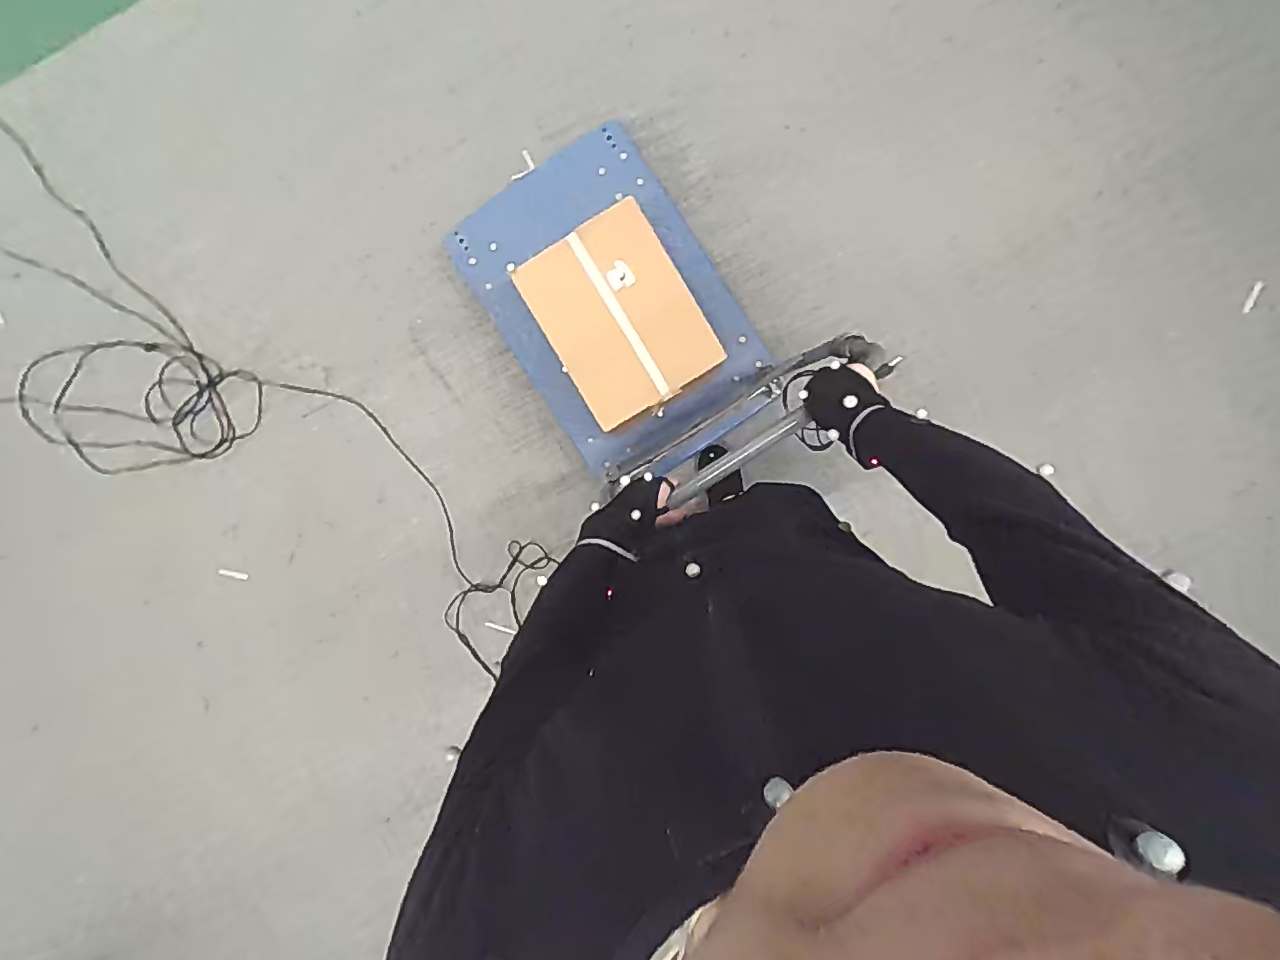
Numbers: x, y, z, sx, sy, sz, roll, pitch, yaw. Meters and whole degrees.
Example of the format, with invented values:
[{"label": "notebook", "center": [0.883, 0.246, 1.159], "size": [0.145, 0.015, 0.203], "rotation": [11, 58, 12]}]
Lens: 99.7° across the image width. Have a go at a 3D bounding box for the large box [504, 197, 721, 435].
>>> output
[{"label": "large box", "center": [-0.051, -0.355, 1.290], "size": [0.320, 0.320, 0.408], "rotation": [-31, 91, 2]}]
